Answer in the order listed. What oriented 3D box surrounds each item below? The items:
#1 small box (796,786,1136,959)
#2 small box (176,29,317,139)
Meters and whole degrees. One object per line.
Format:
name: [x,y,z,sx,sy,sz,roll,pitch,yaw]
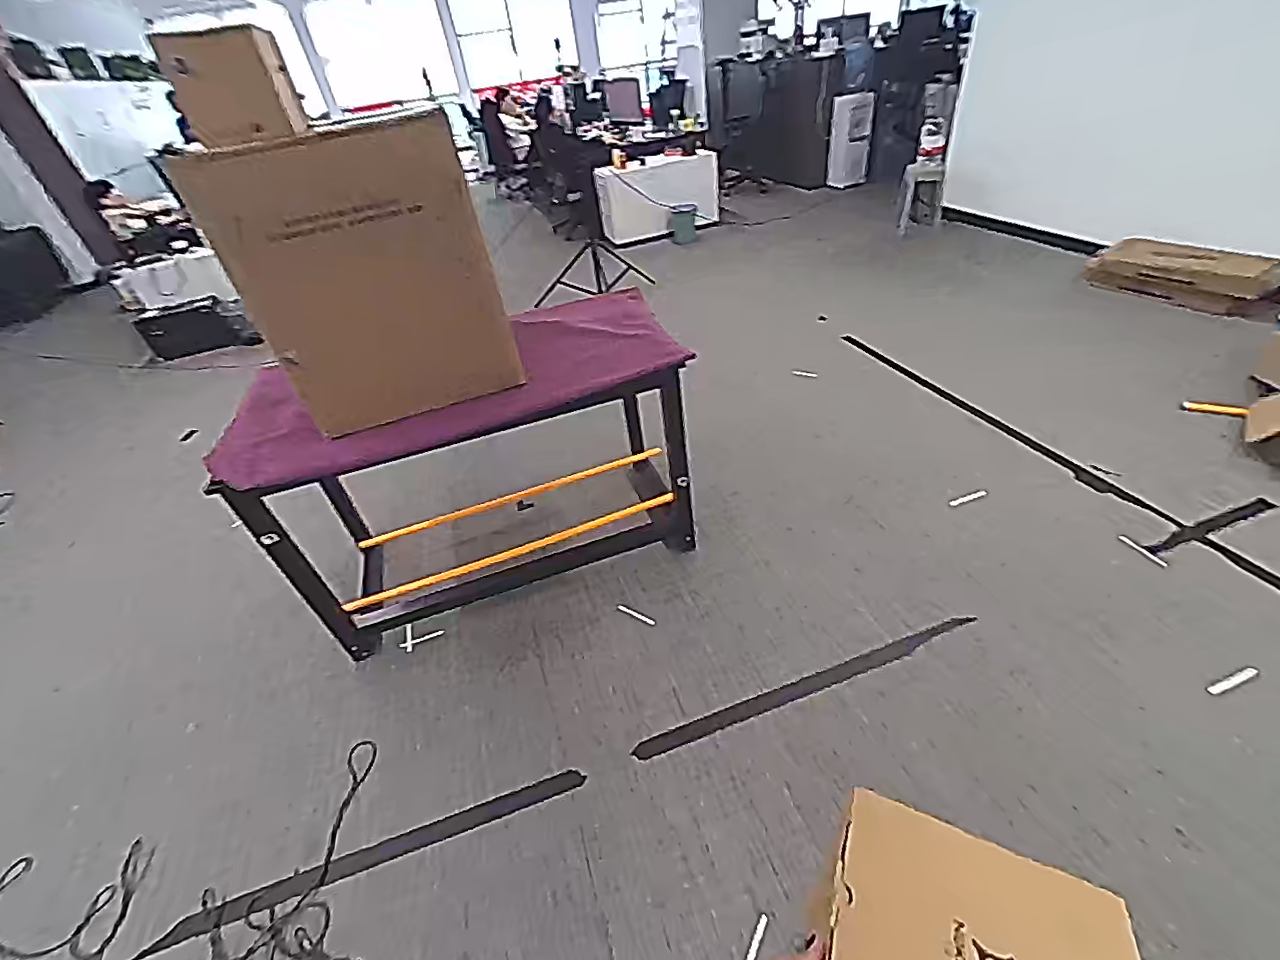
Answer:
small box: [0.200,0.358,0.360,0.179,0.176,0.168,13,30,21]
small box: [-0.834,-0.848,1.166,0.179,0.176,0.168,-19,40,-15]
